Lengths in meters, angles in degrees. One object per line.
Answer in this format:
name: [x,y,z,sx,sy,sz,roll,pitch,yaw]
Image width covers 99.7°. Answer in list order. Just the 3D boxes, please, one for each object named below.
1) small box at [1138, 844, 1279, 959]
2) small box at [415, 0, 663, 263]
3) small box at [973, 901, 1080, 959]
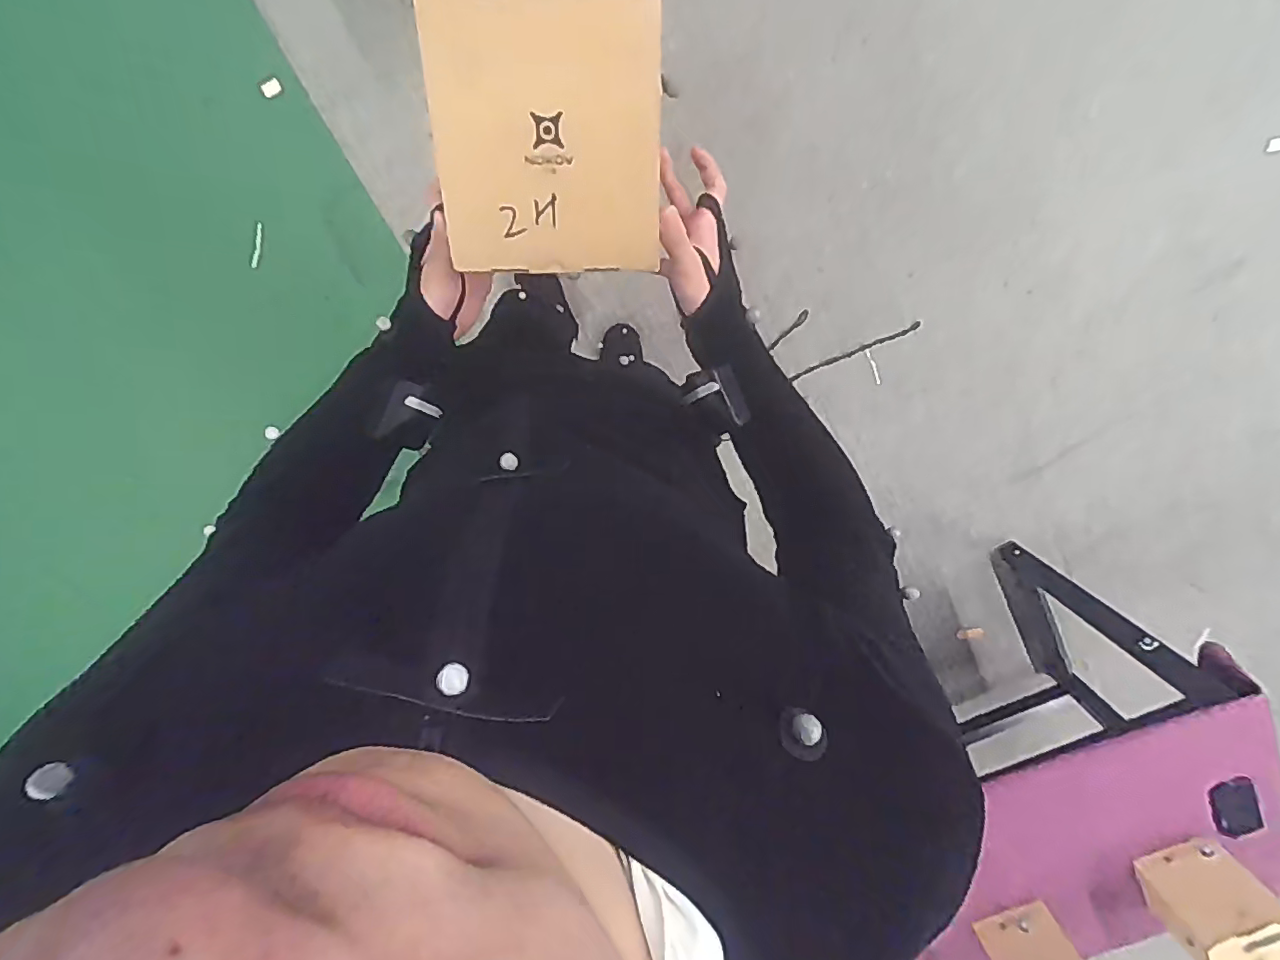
small box: [1.174,0.882,1.100,0.168,0.176,0.179,-28,107,10]
small box: [-0.067,-0.284,0.459,0.168,0.176,0.179,1,116,1]
small box: [0.870,1.071,1.173,0.168,0.176,0.179,-28,106,9]
